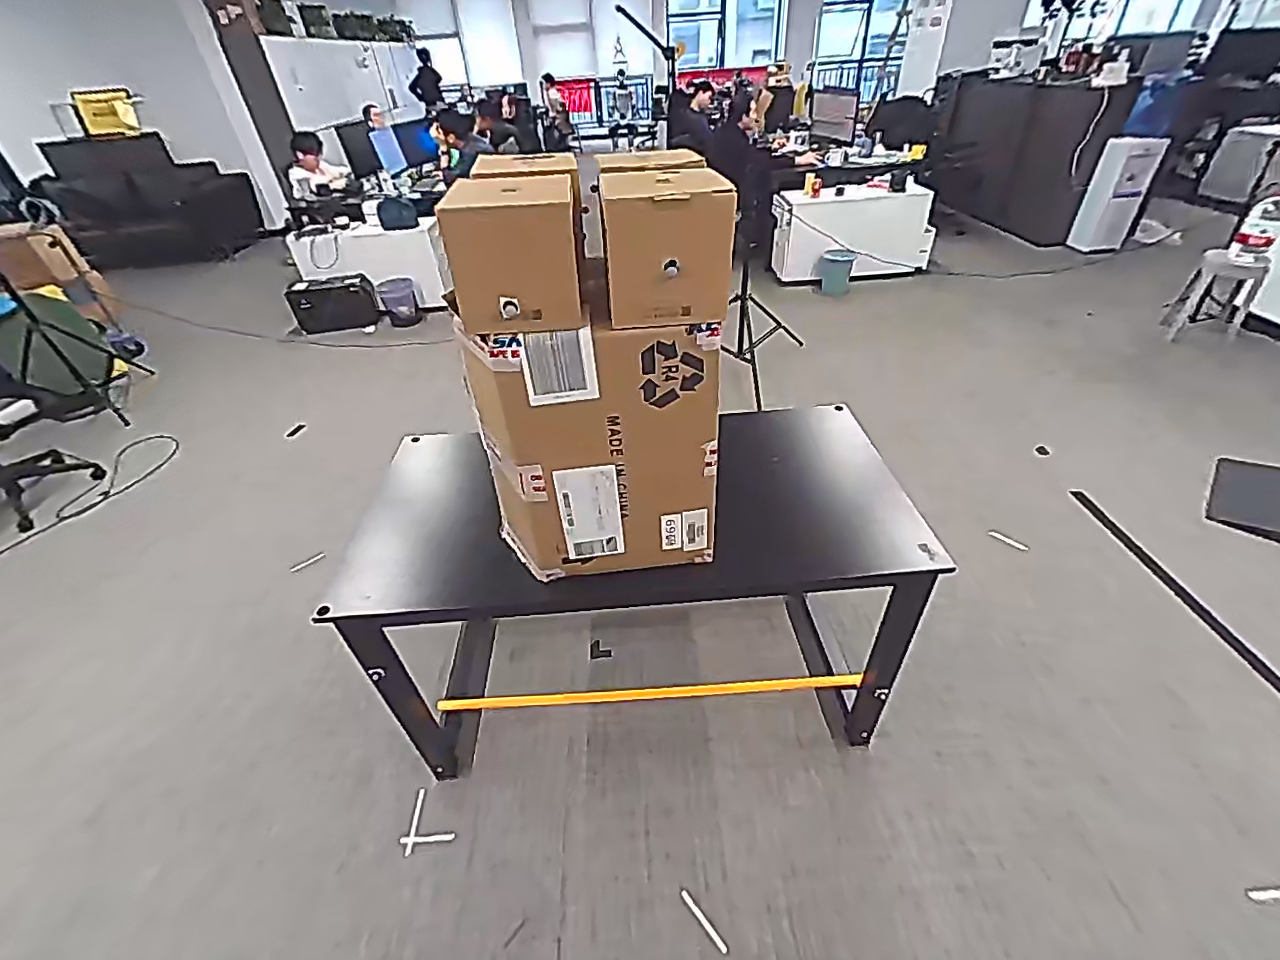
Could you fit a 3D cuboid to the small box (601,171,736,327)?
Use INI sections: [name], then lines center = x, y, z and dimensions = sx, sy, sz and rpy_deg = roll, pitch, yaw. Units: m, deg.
[small box]
center = 0.033, -0.328, 0.773
dimensions = 0.168, 0.176, 0.179
rpy_deg = -4, 39, -4
